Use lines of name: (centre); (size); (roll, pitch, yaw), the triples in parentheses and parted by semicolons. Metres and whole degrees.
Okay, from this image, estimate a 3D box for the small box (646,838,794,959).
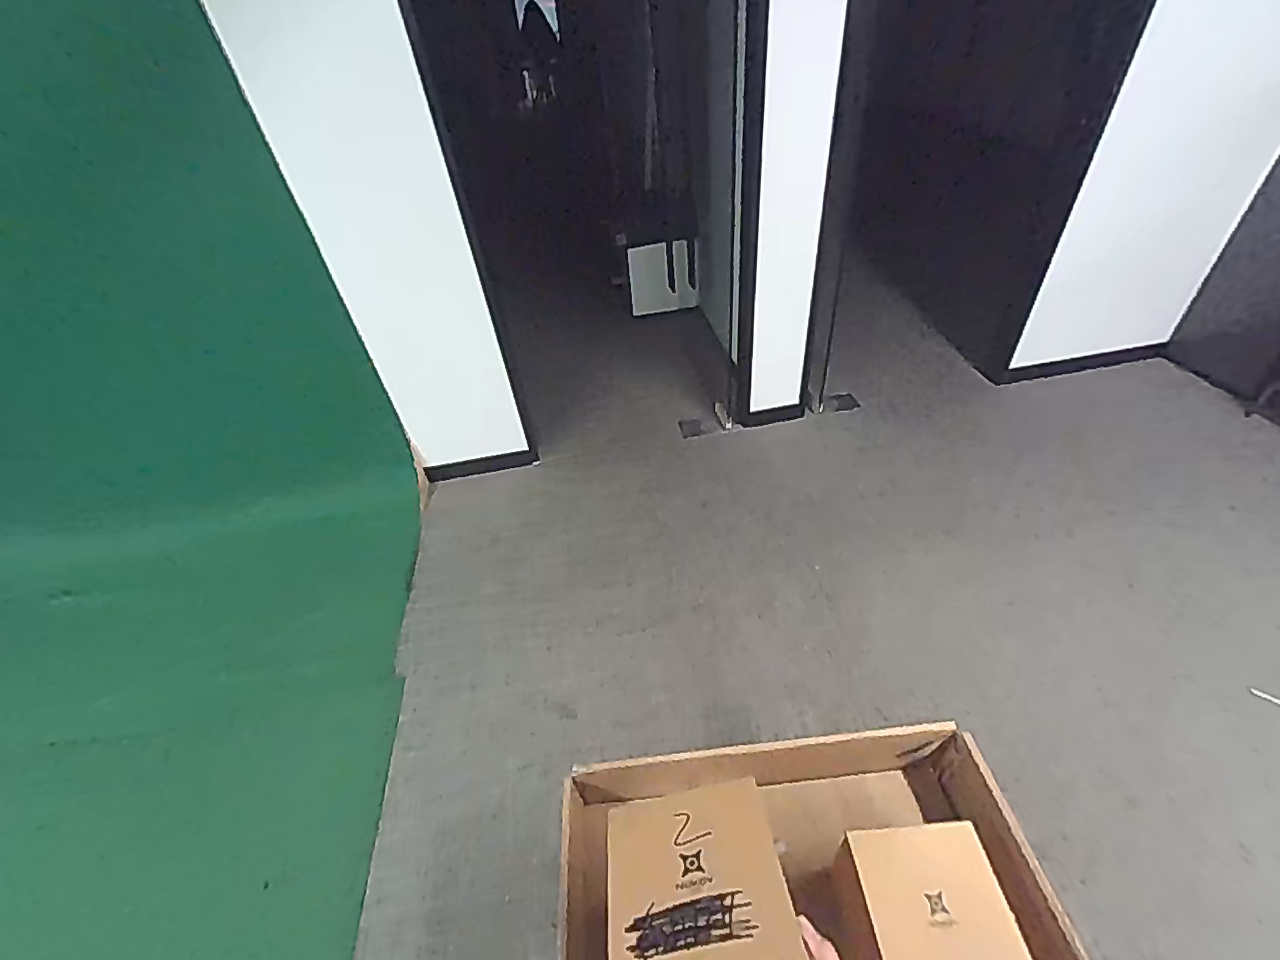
small box: (0.100, 0.596, 0.700); (0.168, 0.176, 0.179); (-8, 43, 0)
